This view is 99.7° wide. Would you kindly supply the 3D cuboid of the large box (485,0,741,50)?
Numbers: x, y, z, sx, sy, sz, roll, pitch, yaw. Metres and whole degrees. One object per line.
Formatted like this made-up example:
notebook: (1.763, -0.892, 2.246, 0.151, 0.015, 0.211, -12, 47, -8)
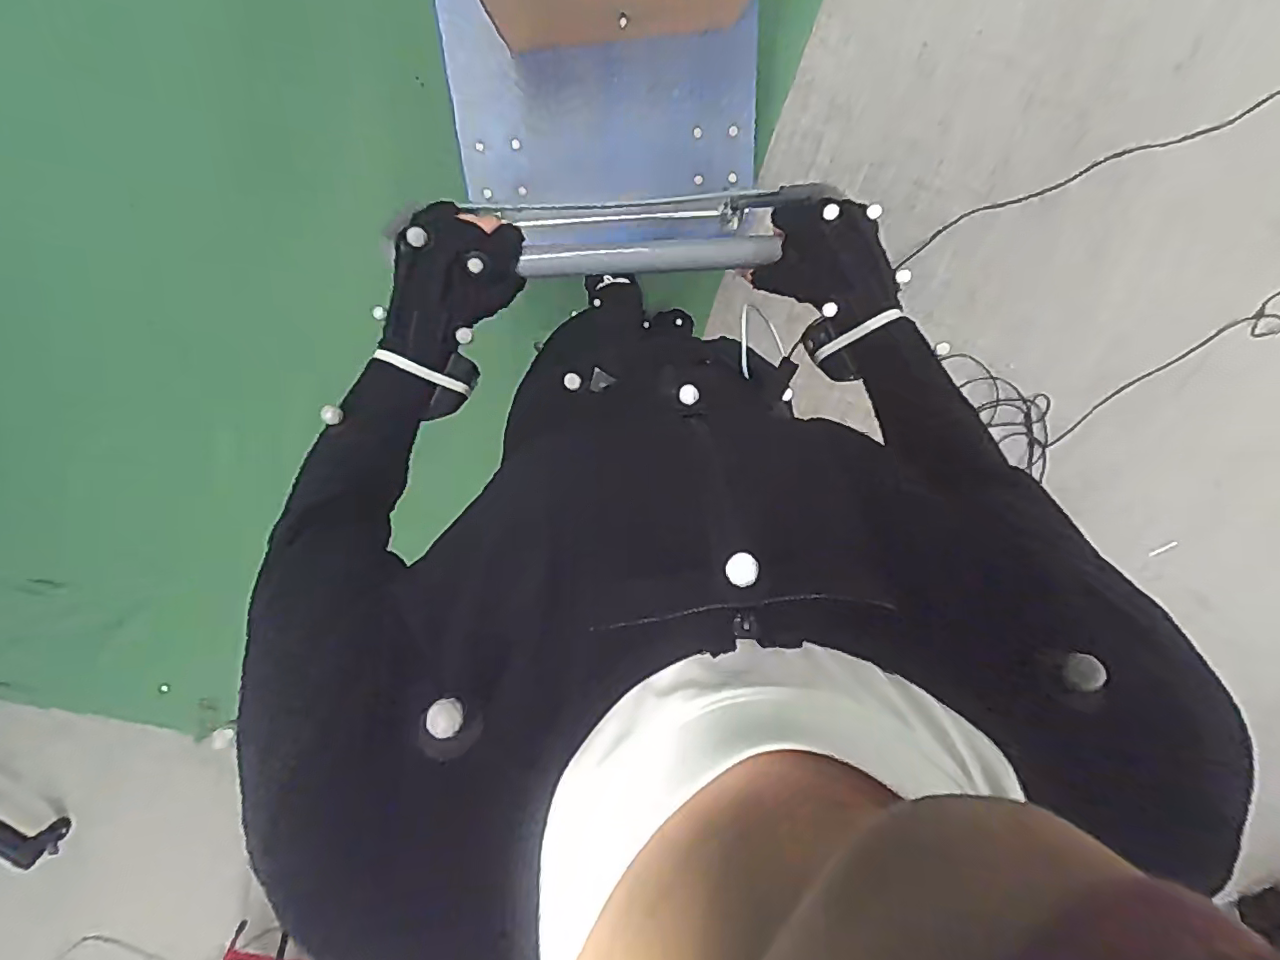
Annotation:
large box: (-0.042, -0.880, 0.791, 0.408, 0.320, 0.320, -6, 115, 1)
